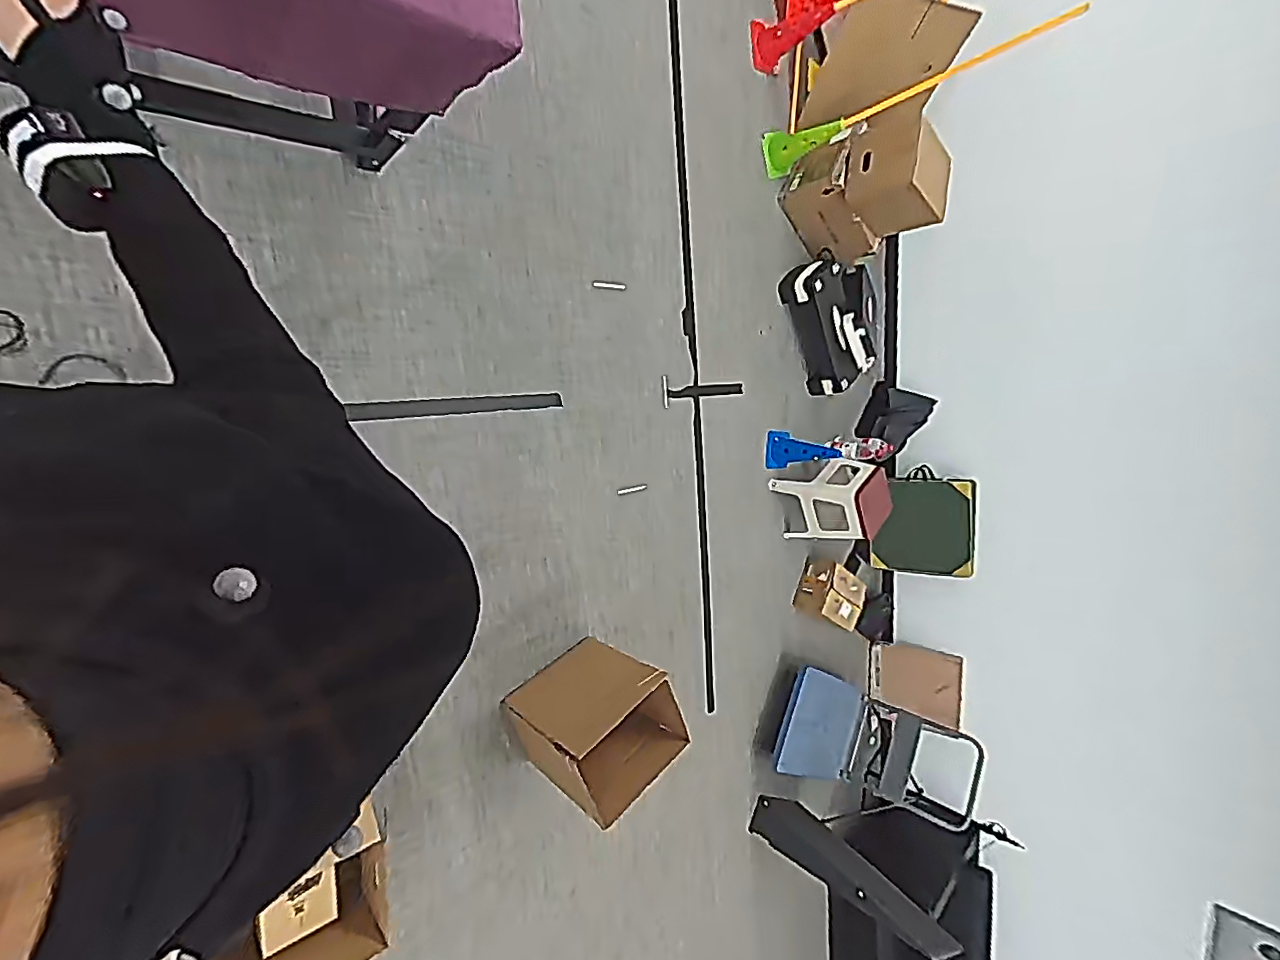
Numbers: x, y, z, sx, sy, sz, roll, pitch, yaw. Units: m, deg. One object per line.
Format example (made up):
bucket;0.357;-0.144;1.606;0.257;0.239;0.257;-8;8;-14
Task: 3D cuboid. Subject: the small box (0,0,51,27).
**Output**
small box;-0.539;-0.446;0.363;0.179;0.176;0.168;-10;118;-44
